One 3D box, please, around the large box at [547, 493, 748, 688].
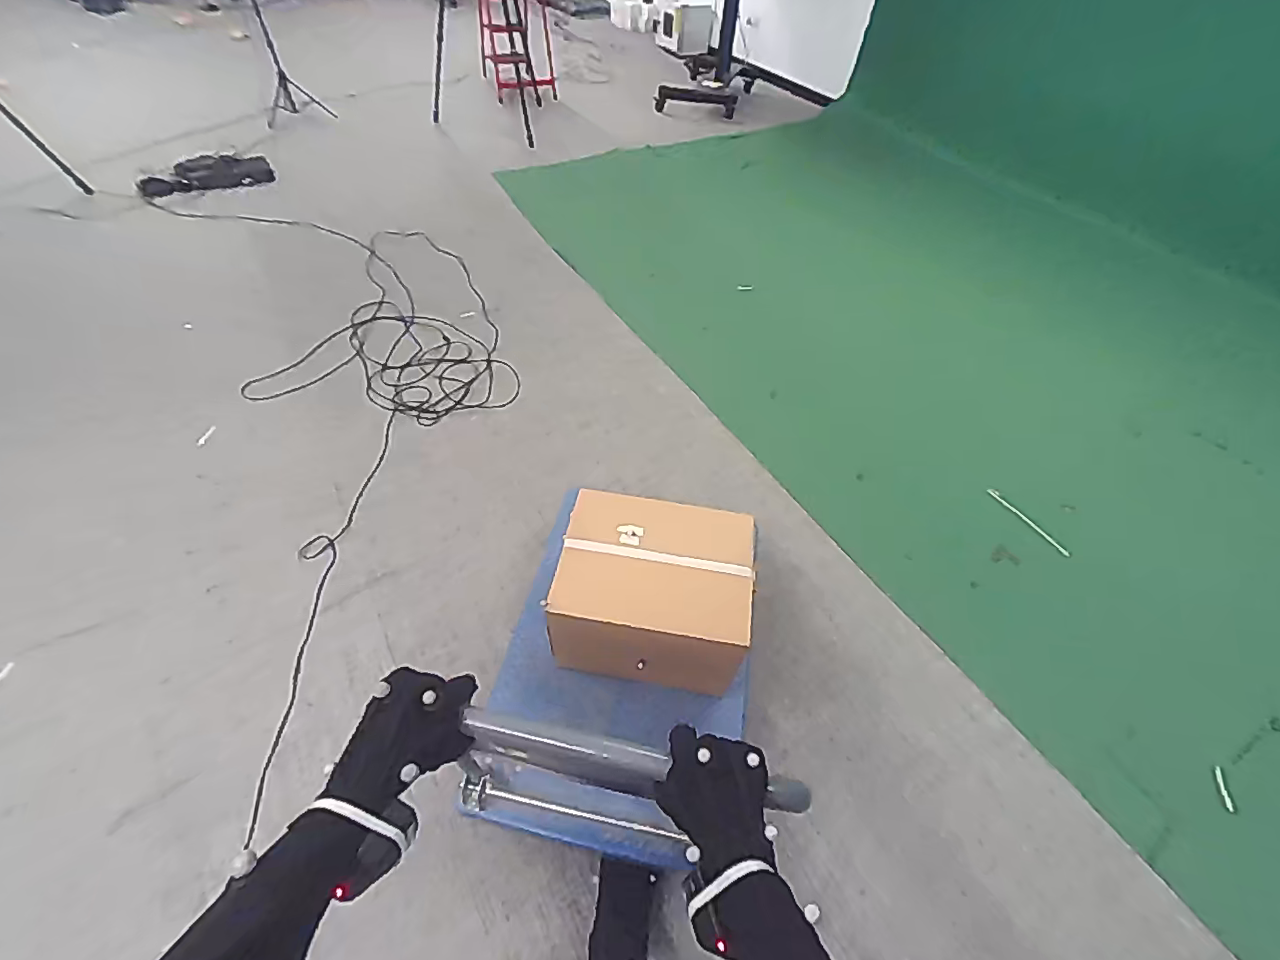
[{"bbox_3d":[0.028,0.265,1.267,0.408,0.320,0.320,8,51,4],"label":"large box"}]
